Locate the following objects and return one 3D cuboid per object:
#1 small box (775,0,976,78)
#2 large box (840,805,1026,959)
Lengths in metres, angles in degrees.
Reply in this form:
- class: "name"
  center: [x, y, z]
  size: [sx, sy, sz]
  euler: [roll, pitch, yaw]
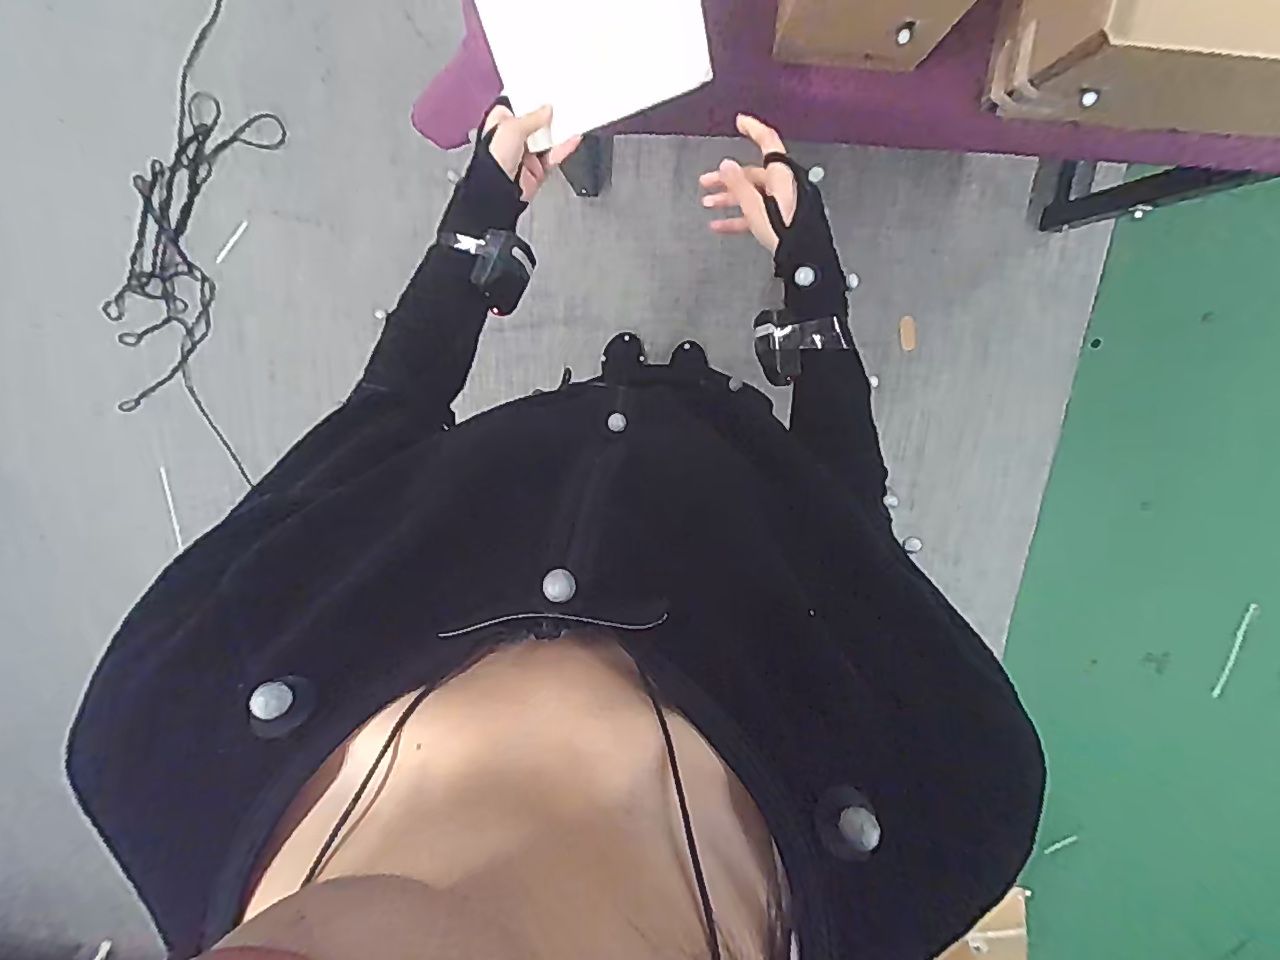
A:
- class: "small box"
  center: [0.238, -0.537, 0.536]
  size: [0.168, 0.176, 0.179]
  euler: [5, 103, 1]
- class: "large box"
  center: [0.881, 1.270, 1.664]
  size: [0.408, 0.320, 0.320]
  euler: [-11, 105, 4]
